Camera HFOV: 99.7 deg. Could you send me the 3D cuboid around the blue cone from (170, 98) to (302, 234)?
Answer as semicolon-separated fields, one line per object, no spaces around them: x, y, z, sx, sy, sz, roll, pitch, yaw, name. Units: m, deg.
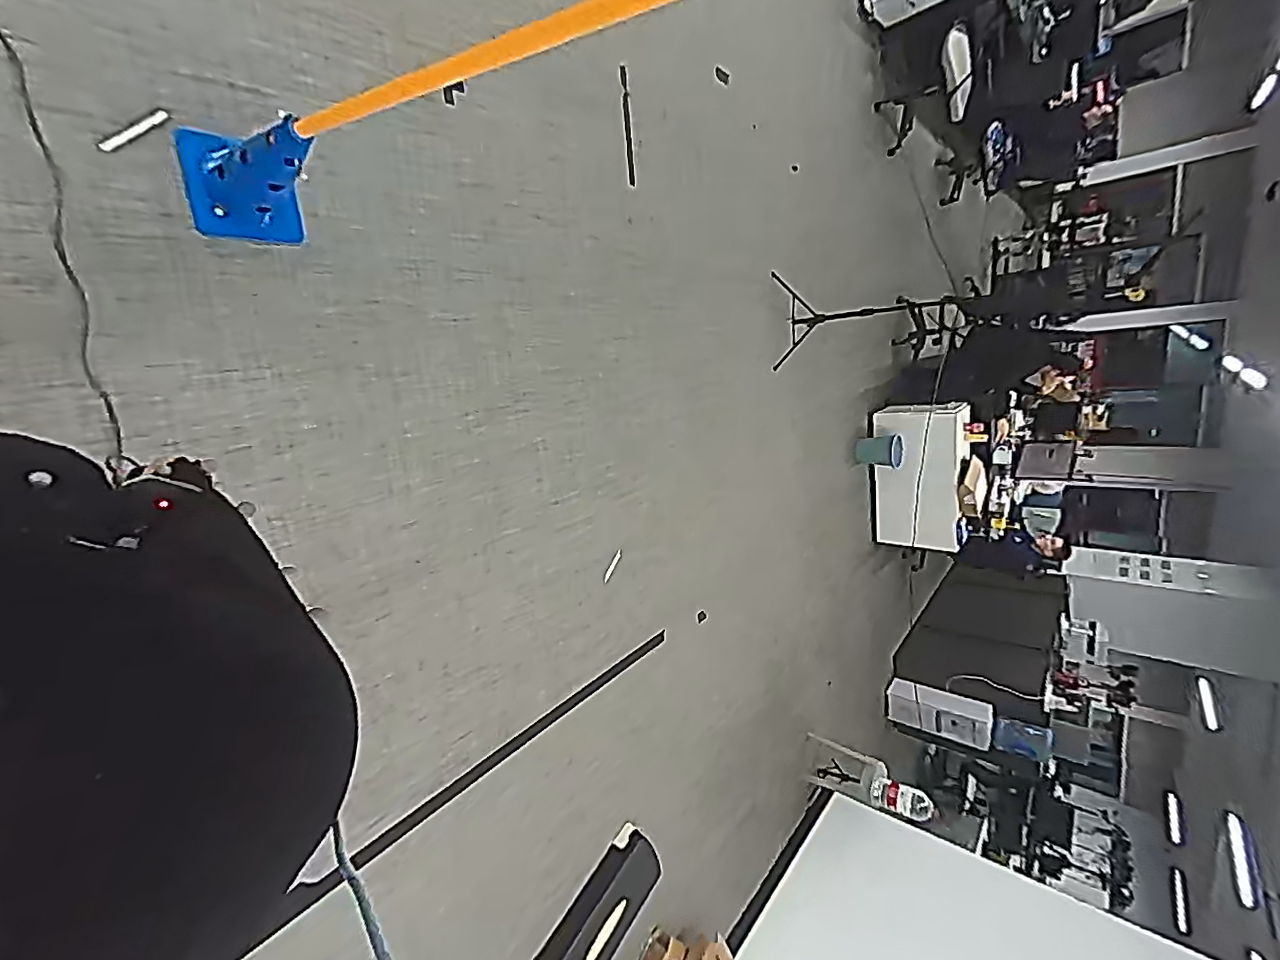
-0.716;-0.611;1.017;0.193;0.380;0.192;-16;105;-47;blue cone
